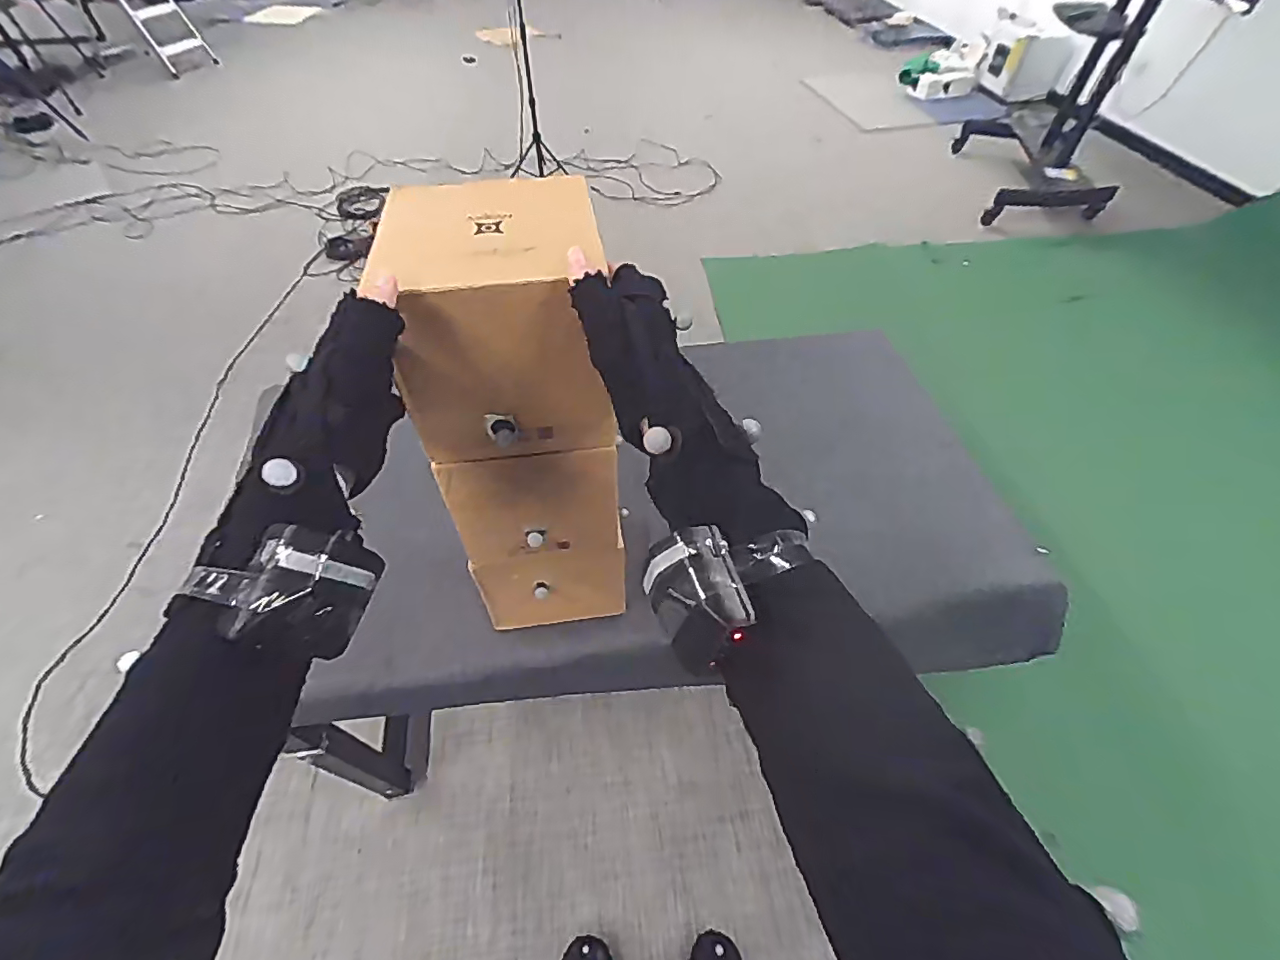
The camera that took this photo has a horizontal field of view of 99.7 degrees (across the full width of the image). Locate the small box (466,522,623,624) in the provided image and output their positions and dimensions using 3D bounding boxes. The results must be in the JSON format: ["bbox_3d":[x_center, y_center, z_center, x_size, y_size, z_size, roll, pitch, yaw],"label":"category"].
[{"bbox_3d":[-0.119,0.078,0.721,0.179,0.176,0.168,-6,51,-6],"label":"small box"}]

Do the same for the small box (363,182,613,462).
[{"bbox_3d":[-0.114,-0.138,0.473,0.168,0.176,0.179,-6,50,-6],"label":"small box"}]

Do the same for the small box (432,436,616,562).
[{"bbox_3d":[-0.116,-0.032,0.598,0.168,0.176,0.179,-5,51,-6],"label":"small box"}]
